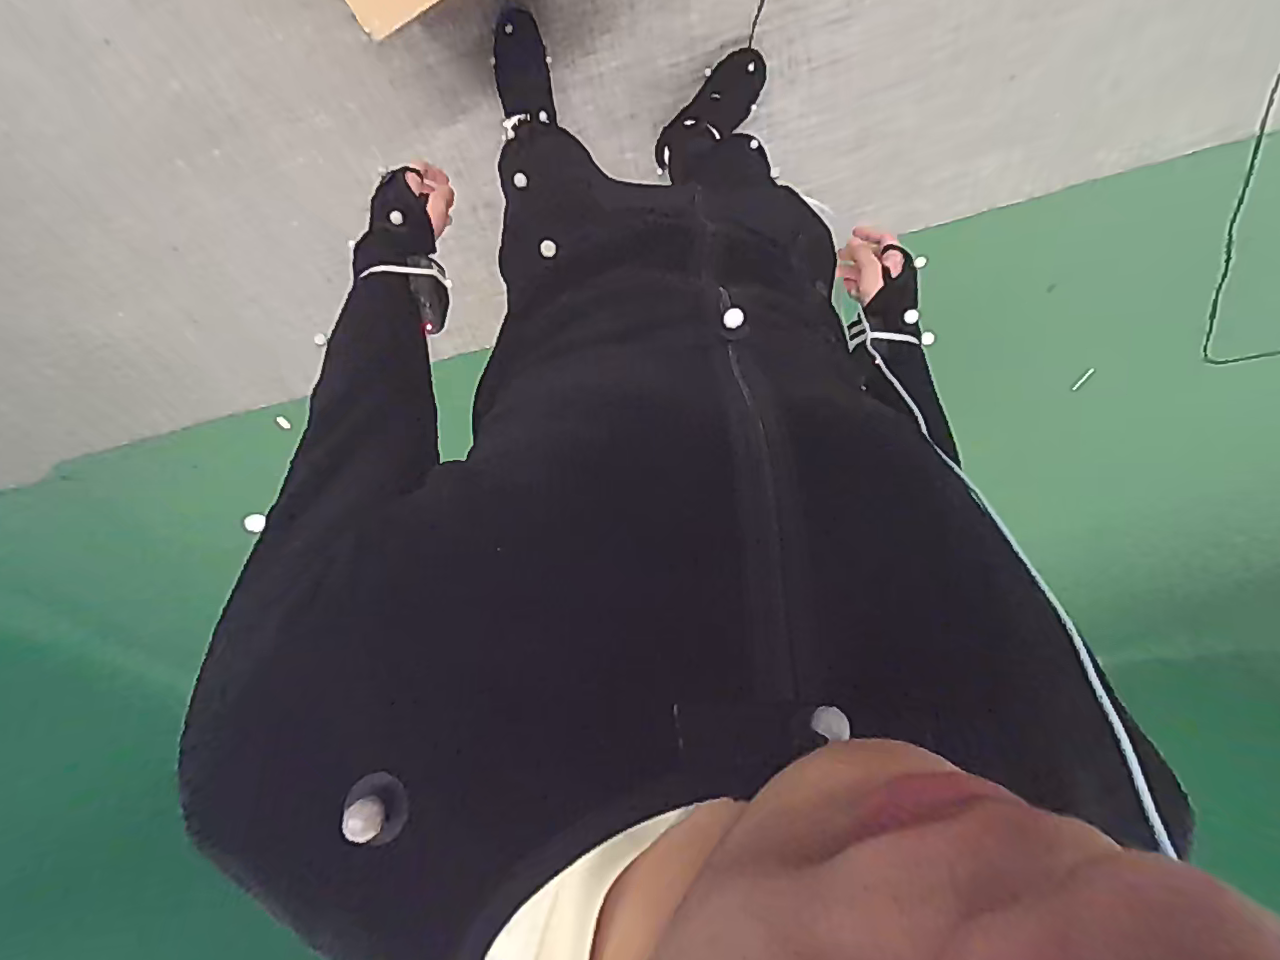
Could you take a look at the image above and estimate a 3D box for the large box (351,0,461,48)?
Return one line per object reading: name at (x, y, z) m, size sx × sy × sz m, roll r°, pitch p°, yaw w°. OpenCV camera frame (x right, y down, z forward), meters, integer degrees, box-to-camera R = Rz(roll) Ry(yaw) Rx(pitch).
large box at (-0.328, -0.999, 0.867) m, size 0.408 × 0.320 × 0.320 m, roll -19°, pitch 132°, yaw 16°
